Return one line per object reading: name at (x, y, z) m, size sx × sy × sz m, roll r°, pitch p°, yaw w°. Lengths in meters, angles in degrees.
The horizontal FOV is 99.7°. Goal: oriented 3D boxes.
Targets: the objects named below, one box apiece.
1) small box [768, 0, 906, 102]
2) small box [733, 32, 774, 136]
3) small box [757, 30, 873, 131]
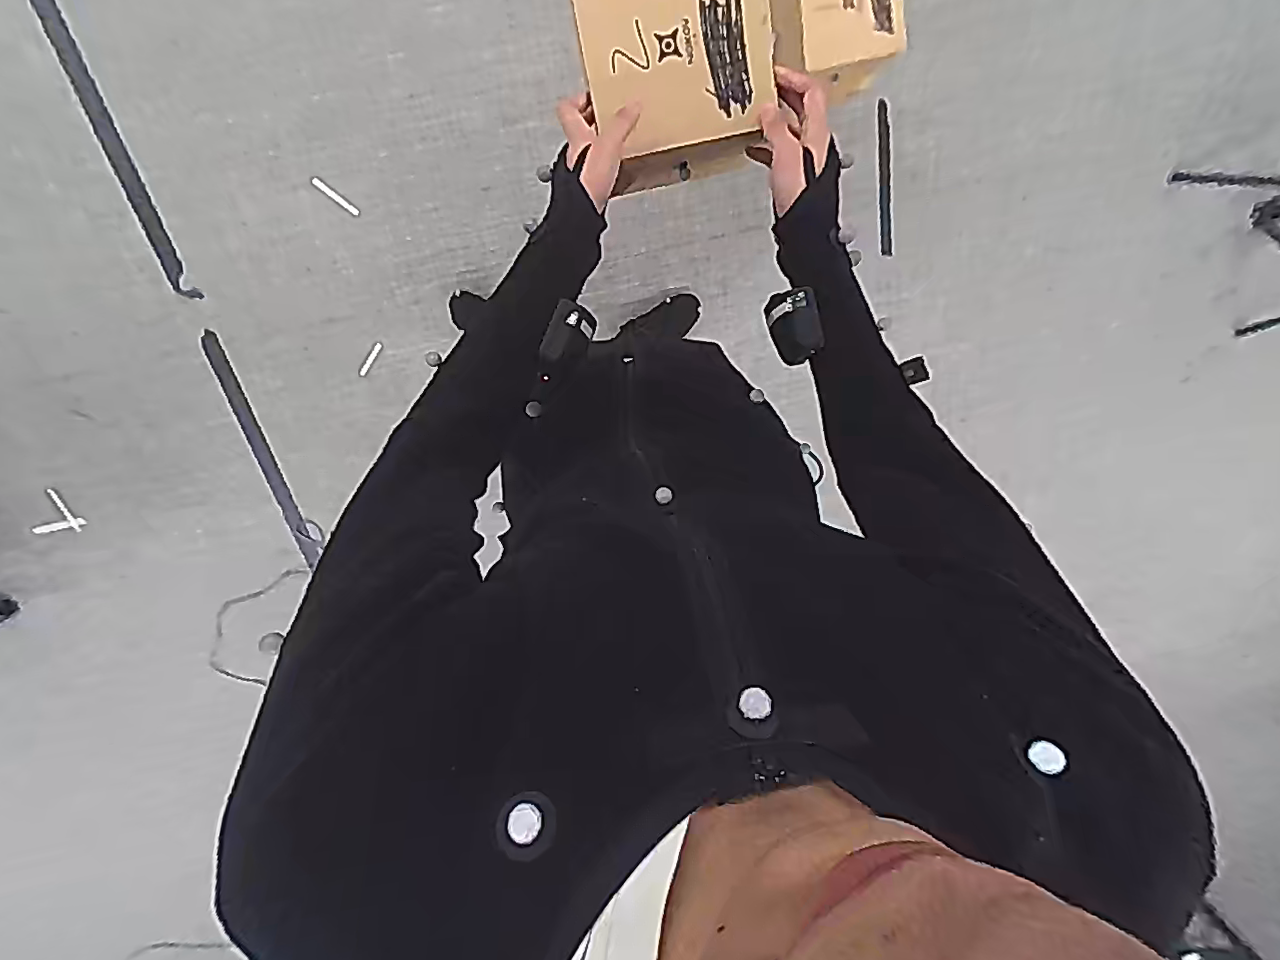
small box at (0.340, -0.796, 0.950) m, size 0.179 × 0.176 × 0.168 m, roll -12°, pitch 112°, yaw 0°
small box at (0.330, -0.923, 1.252) m, size 0.179 × 0.176 × 0.168 m, roll -15°, pitch 113°, yaw 1°
small box at (0.351, -0.849, 1.107) m, size 0.168 × 0.176 × 0.179 m, roll -16°, pitch 113°, yaw 1°
